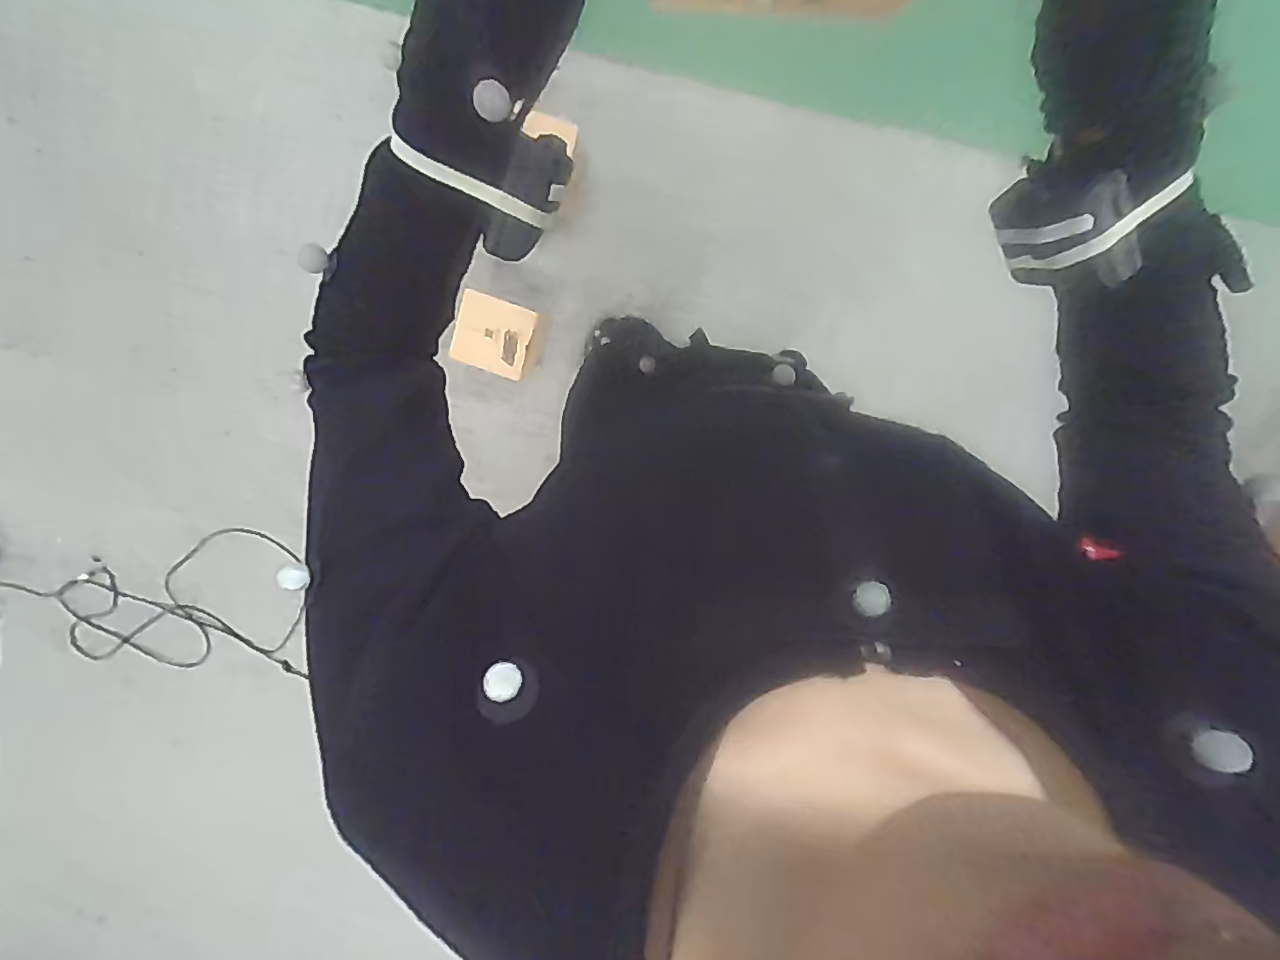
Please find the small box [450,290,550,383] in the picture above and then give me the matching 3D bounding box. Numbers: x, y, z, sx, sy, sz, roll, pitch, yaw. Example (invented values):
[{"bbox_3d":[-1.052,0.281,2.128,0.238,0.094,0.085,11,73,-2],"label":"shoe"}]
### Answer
[{"bbox_3d":[-0.332,-0.347,1.318,0.179,0.176,0.168,19,103,-3],"label":"small box"}]
